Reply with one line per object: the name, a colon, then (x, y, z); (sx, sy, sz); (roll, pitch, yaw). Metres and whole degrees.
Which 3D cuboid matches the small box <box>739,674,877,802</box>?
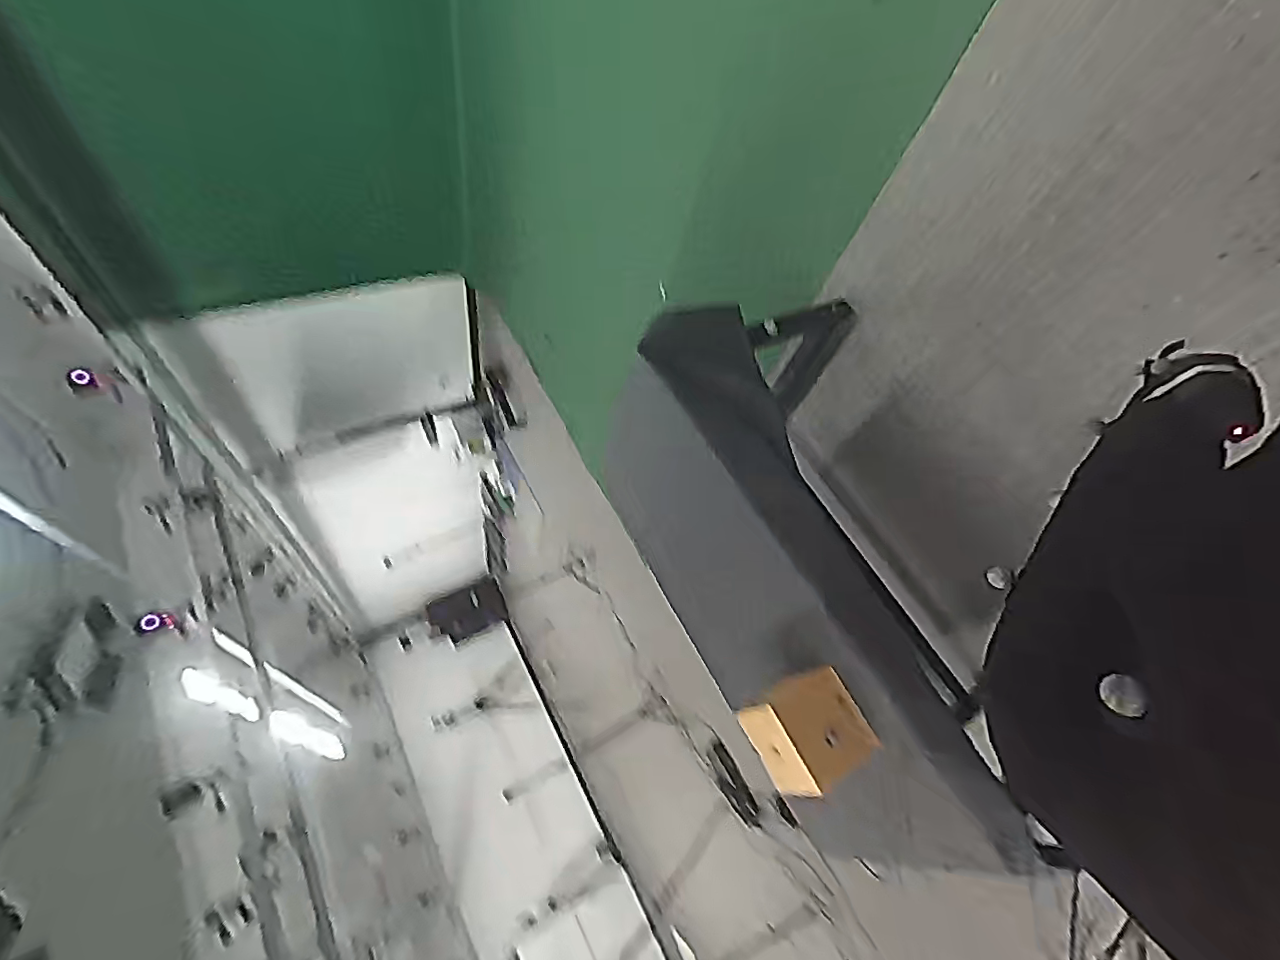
small box: (0.333, 0.506, 1.070); (0.168, 0.176, 0.179); (59, 154, 20)
